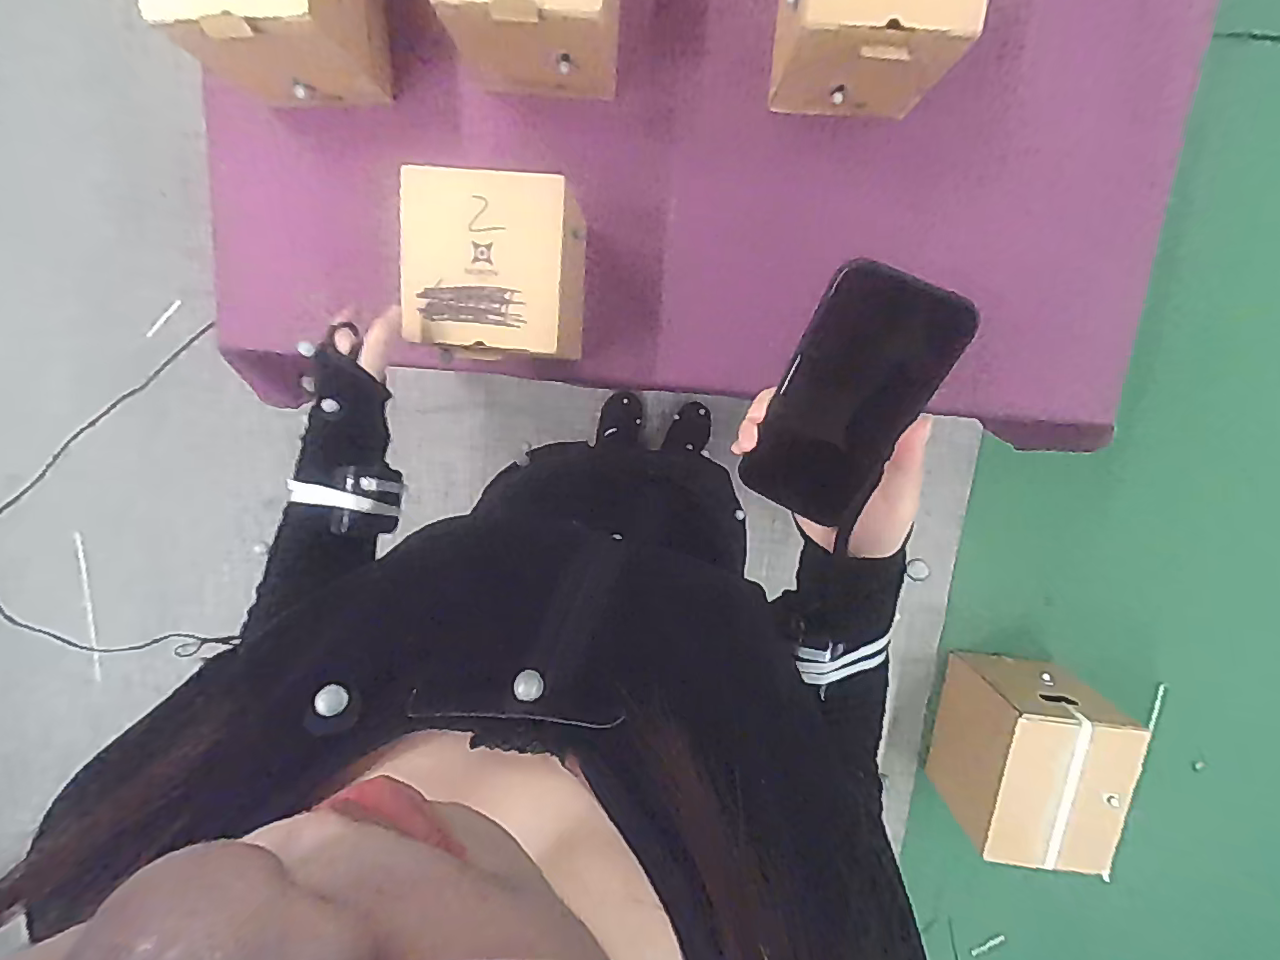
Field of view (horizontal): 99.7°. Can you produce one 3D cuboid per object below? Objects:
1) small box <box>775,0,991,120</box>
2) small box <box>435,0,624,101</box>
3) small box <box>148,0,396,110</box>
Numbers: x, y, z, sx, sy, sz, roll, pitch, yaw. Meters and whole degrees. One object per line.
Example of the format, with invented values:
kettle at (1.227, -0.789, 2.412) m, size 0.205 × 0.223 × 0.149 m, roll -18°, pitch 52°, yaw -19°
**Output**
small box at (0.245, -0.514, 0.563) m, size 0.168 × 0.176 × 0.179 m, roll 4°, pitch 102°, yaw 1°
small box at (-0.103, -0.537, 0.571) m, size 0.168 × 0.176 × 0.179 m, roll 6°, pitch 101°, yaw 0°
small box at (-0.384, -0.534, 0.580) m, size 0.168 × 0.176 × 0.179 m, roll 0°, pitch 101°, yaw 2°
